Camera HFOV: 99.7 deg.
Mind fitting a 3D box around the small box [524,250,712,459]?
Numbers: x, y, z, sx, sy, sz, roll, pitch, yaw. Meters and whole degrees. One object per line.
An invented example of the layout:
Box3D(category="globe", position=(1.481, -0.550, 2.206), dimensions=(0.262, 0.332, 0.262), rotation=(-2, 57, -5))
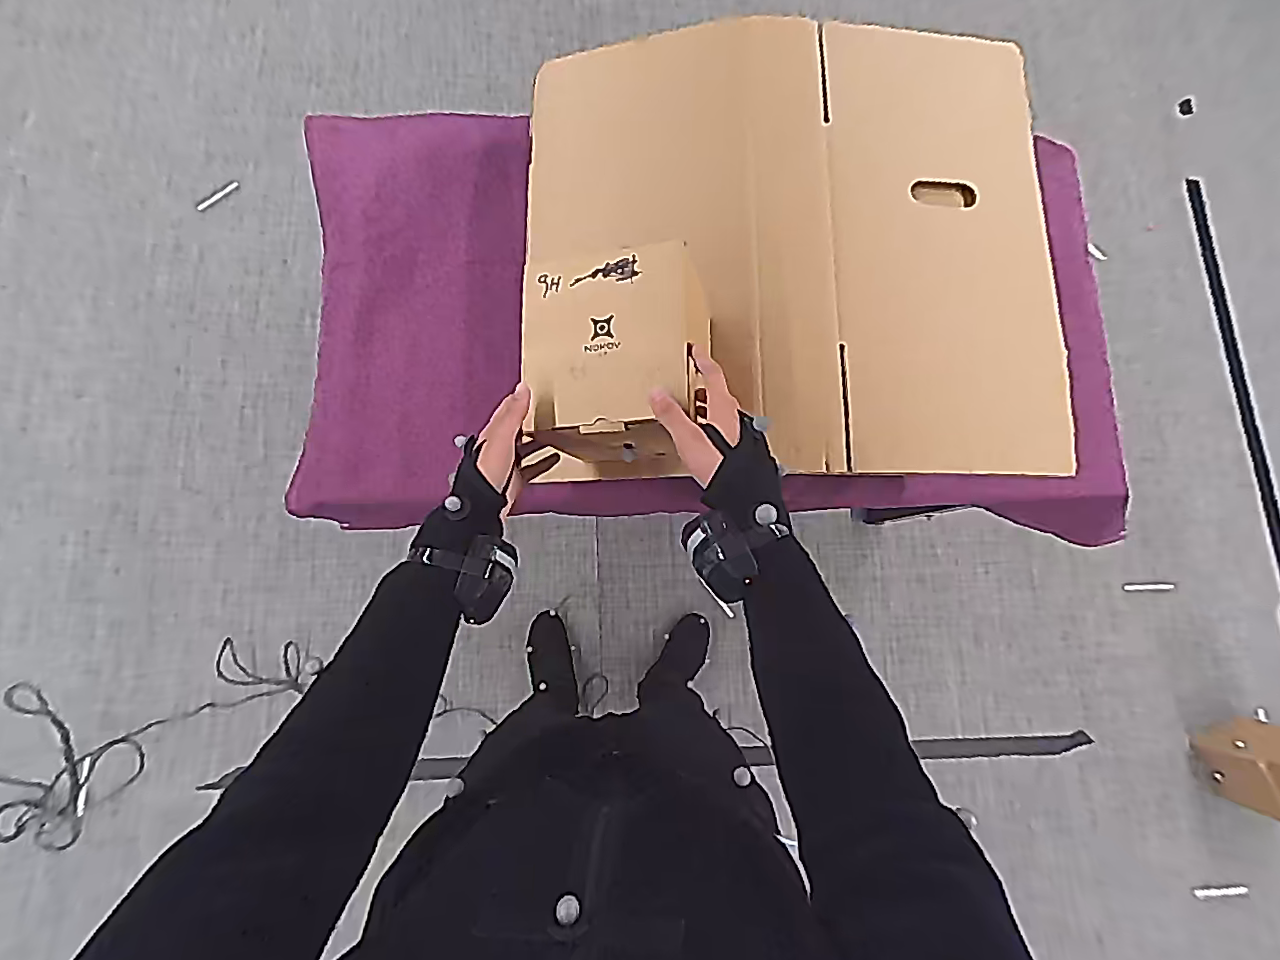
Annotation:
Box3D(category="small box", position=(-0.013, -0.119, 0.594), dimensions=(0.168, 0.176, 0.179), rotation=(-2, 82, 15))
